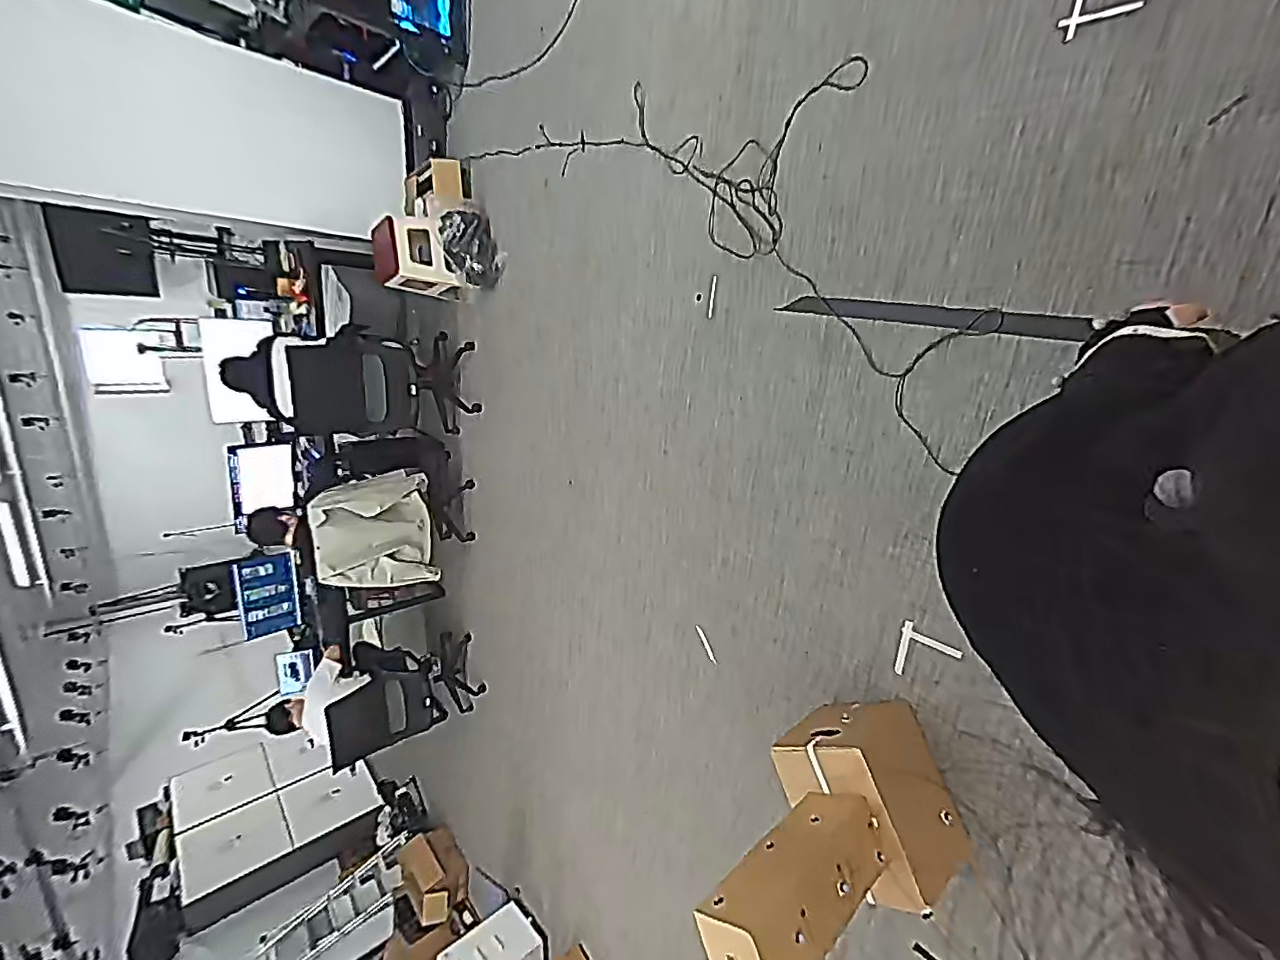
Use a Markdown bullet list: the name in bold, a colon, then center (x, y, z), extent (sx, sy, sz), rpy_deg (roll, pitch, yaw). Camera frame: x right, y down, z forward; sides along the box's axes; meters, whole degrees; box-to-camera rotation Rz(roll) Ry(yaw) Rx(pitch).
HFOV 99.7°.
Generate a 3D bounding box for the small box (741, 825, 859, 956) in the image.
- **small box**: center (0.375, 0.942, 1.264), extent (0.179, 0.176, 0.168), rpy_deg (-28, 78, 46)

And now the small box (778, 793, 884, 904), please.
- **small box**: center (0.492, 0.924, 1.375), extent (0.179, 0.176, 0.168), rpy_deg (-32, 74, 47)

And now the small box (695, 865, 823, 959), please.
- **small box**: center (0.254, 0.966, 1.154), extent (0.179, 0.176, 0.168), rpy_deg (-29, 78, 47)
